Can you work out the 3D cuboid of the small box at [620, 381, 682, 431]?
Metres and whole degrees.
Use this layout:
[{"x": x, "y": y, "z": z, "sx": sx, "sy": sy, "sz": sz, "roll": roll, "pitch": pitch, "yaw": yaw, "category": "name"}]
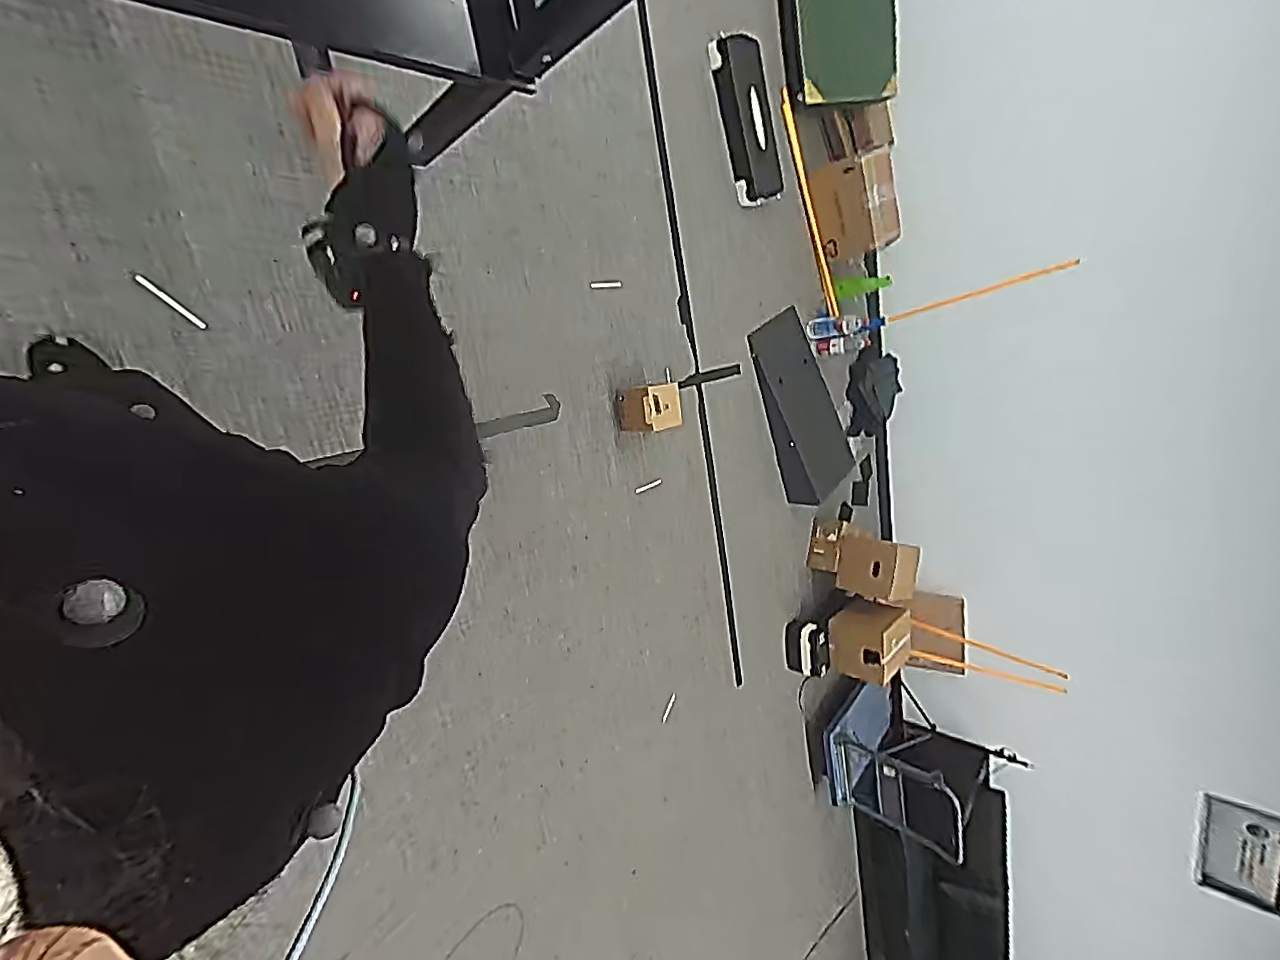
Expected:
[{"x": 0.036, "y": -0.284, "z": 2.083, "sx": 0.179, "sy": 0.176, "sz": 0.168, "roll": -20, "pitch": 108, "yaw": -43, "category": "small box"}]
